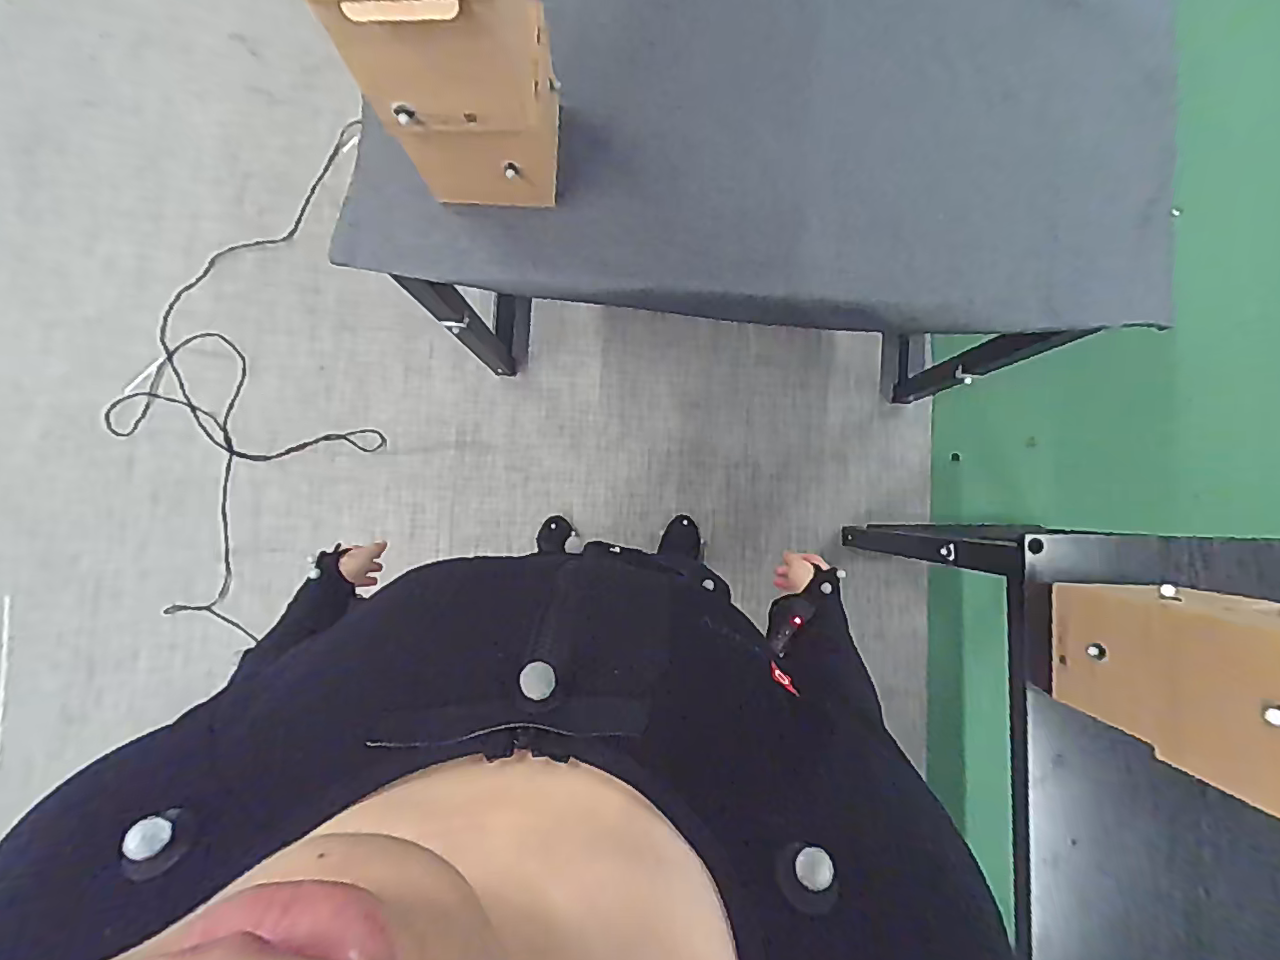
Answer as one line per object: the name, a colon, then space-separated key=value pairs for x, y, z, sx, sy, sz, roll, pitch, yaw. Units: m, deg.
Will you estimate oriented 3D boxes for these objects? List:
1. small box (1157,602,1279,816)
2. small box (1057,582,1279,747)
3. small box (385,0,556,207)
small box: x=0.657 y=0.224 z=0.524 sx=0.168 sy=0.176 sz=0.179 roll=2 pitch=87 yaw=0
small box: x=0.673 y=0.225 z=0.686 sx=0.179 sy=0.176 sz=0.168 roll=2 pitch=88 yaw=0
small box: x=-0.210 y=-0.487 z=0.718 sx=0.179 sy=0.176 sz=0.168 roll=1 pitch=85 yaw=0
